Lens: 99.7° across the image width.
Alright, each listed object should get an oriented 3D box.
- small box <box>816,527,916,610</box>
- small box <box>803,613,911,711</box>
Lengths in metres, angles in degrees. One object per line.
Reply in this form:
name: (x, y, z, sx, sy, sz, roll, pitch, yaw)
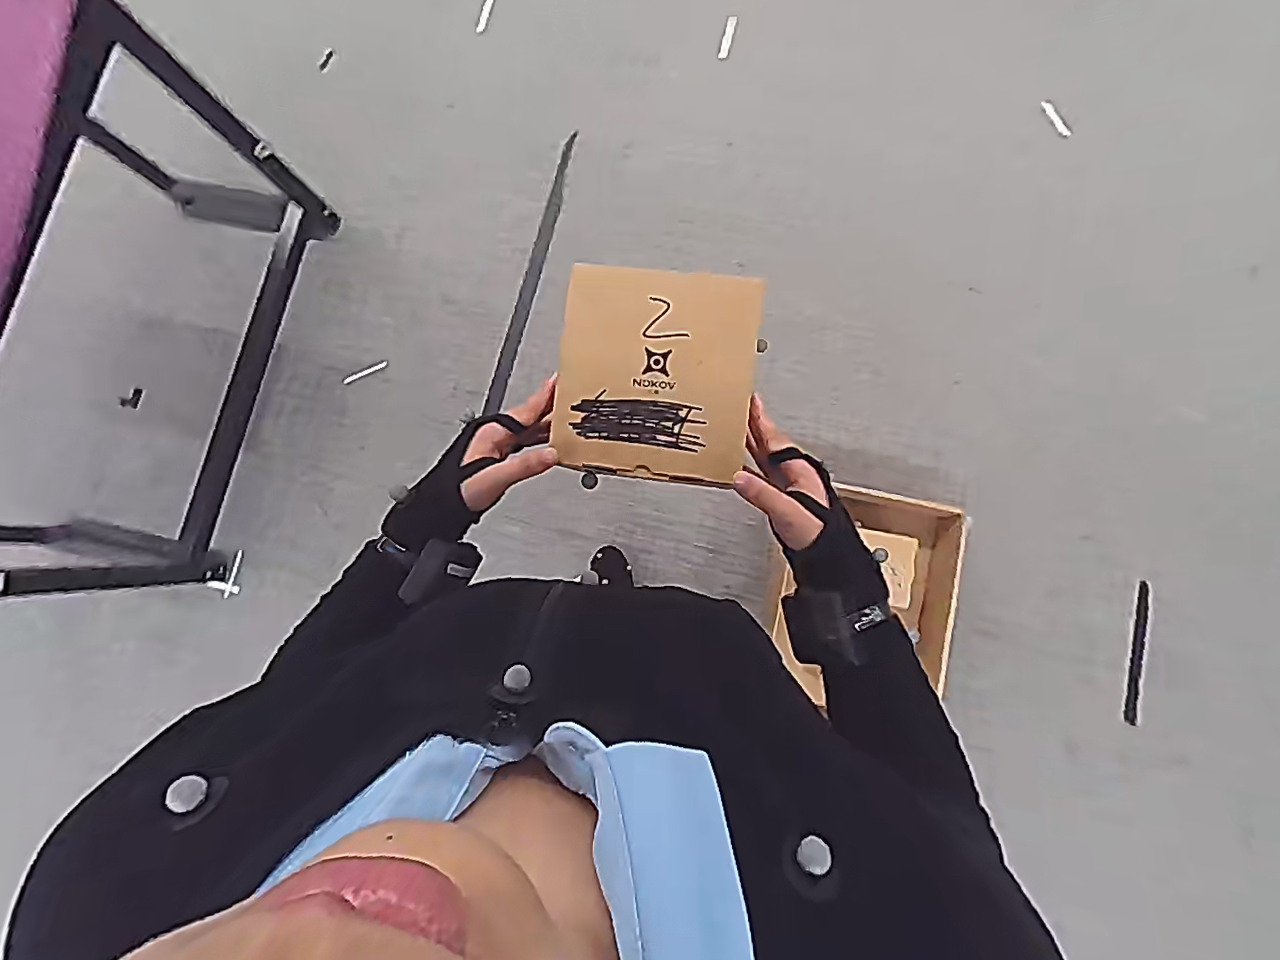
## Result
small box: (0.551, 0.217, 1.340, 0.179, 0.176, 0.168, 11, 84, 5)
small box: (0.520, 0.431, 1.315, 0.179, 0.176, 0.168, 18, 83, 6)
